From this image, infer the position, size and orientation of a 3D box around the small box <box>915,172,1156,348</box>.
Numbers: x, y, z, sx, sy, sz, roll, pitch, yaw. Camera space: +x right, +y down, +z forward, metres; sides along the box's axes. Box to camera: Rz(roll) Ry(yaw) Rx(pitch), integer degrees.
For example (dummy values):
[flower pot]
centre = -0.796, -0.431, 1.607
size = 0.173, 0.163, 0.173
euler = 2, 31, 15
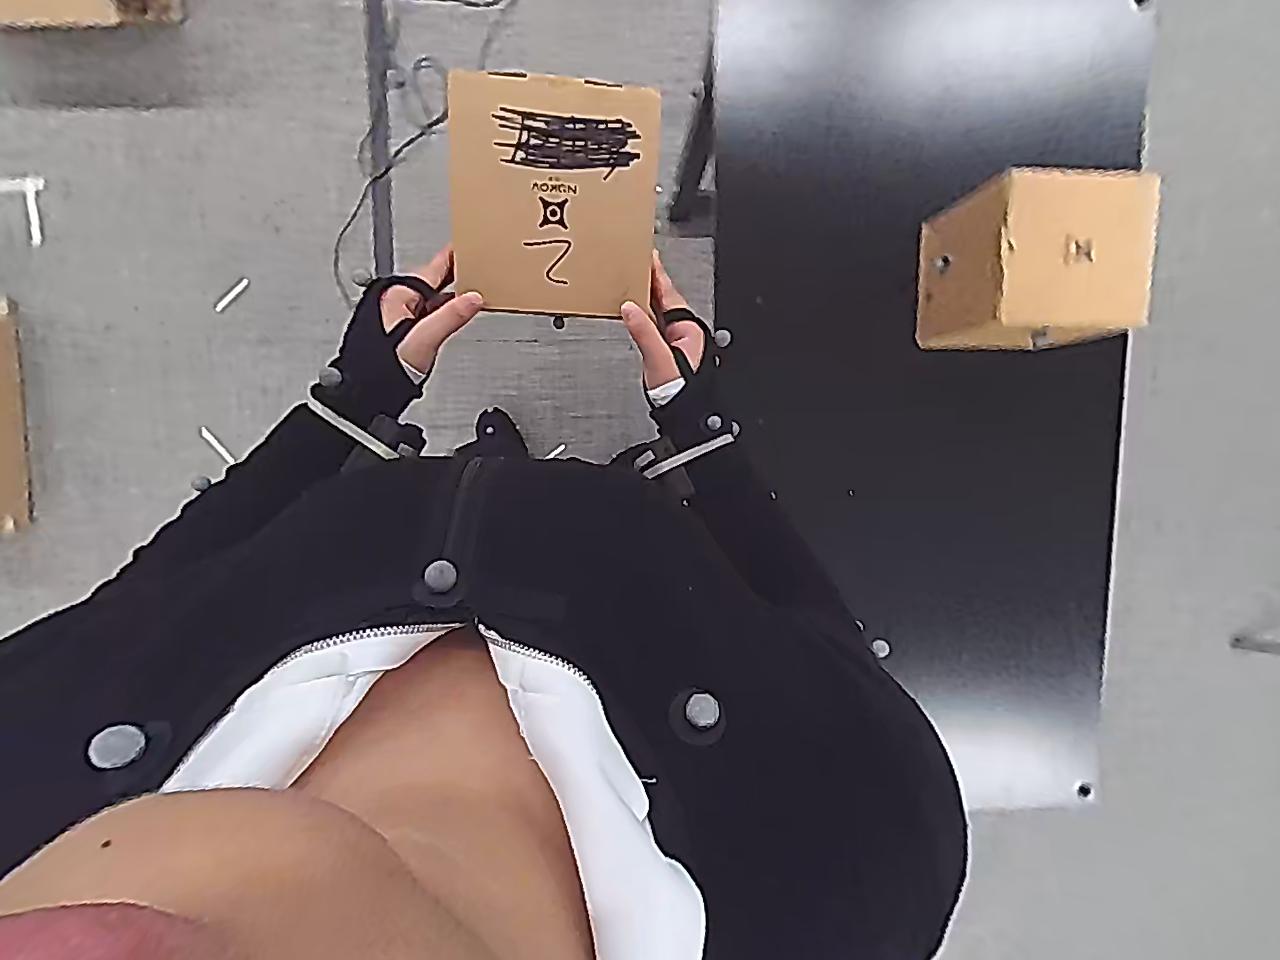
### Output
[small box]
centre = 0.482, -0.264, 0.684
size = 0.179, 0.176, 0.168
euler = 0, 95, -3
